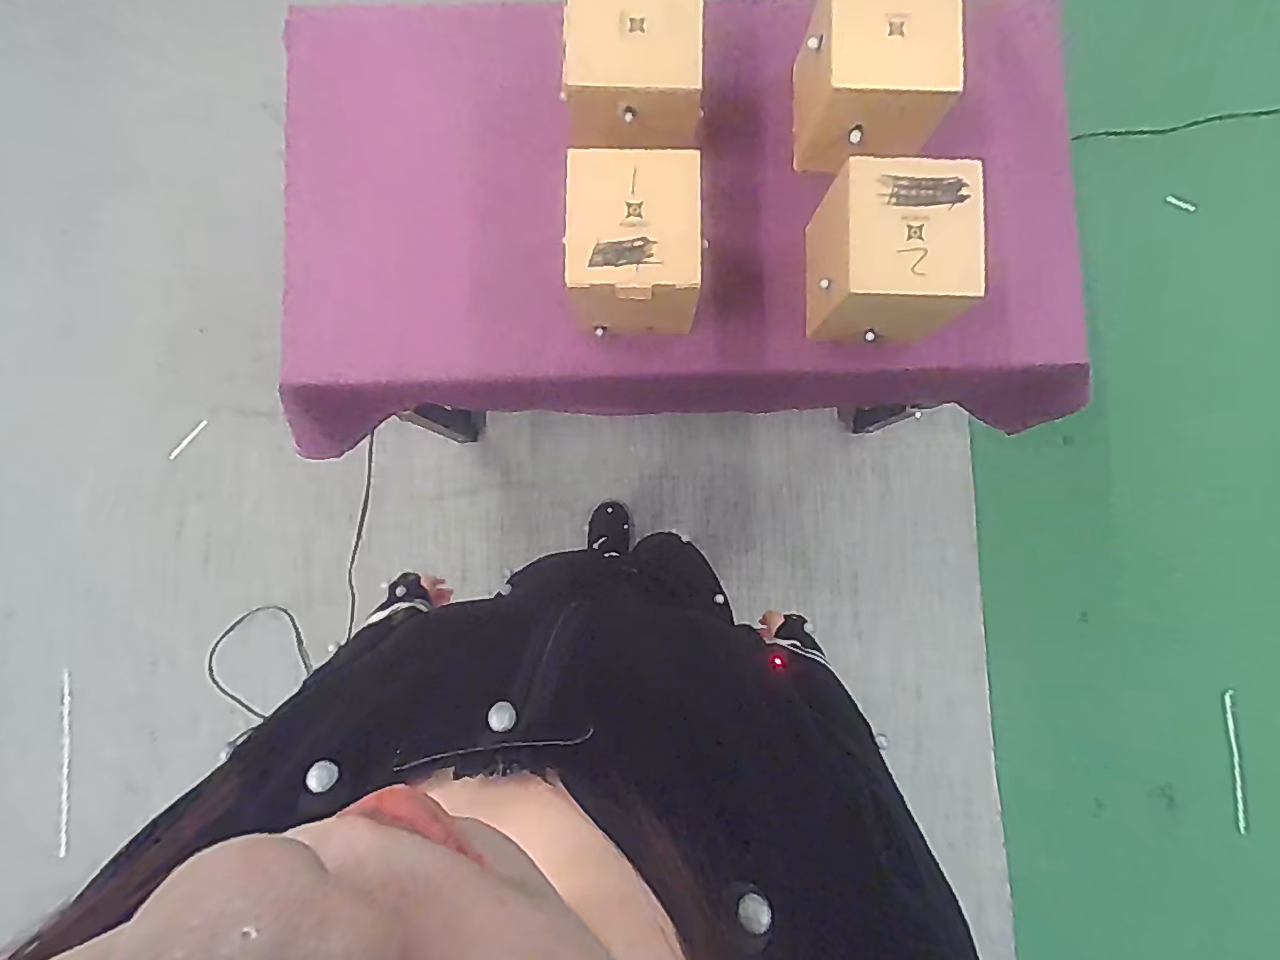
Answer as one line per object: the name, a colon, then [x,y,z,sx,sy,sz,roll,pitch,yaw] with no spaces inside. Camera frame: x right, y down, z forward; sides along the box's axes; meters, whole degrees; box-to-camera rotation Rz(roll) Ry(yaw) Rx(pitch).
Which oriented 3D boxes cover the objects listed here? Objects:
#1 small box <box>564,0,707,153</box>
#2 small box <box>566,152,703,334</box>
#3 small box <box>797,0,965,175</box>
small box: [-0.004,-0.557,0.756,0.179,0.176,0.168,2,86,0]
small box: [-0.005,-0.308,0.734,0.168,0.176,0.179,1,84,0]
small box: [0.324,-0.556,0.755,0.168,0.176,0.179,2,85,1]
